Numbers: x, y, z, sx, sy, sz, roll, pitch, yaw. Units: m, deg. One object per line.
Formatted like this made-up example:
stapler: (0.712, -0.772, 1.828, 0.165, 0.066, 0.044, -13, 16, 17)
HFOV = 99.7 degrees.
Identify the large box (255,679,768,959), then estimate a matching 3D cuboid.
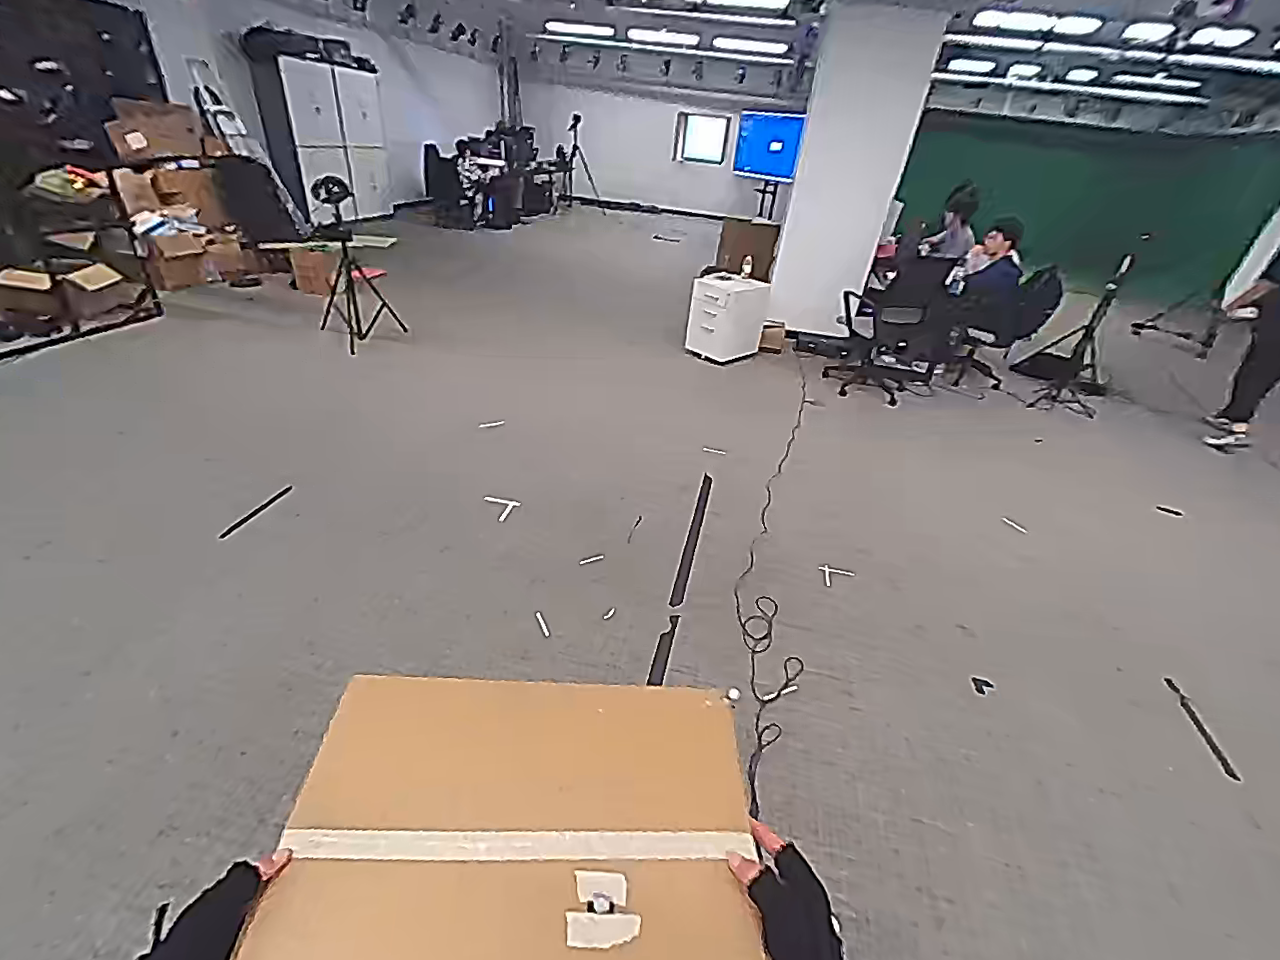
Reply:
large box: (-0.112, 0.442, 0.573, 0.408, 0.320, 0.320, 5, 38, -5)
